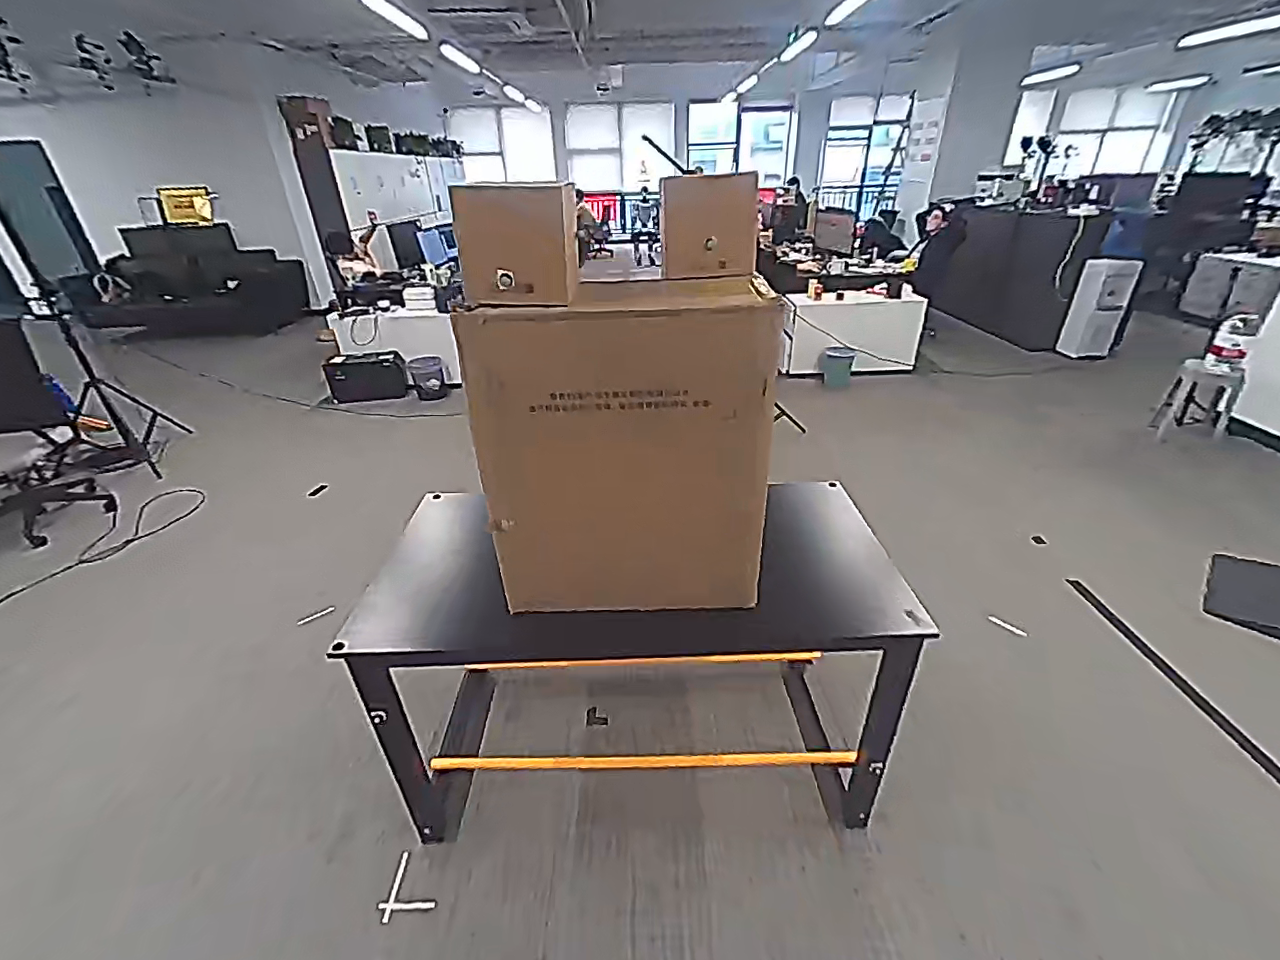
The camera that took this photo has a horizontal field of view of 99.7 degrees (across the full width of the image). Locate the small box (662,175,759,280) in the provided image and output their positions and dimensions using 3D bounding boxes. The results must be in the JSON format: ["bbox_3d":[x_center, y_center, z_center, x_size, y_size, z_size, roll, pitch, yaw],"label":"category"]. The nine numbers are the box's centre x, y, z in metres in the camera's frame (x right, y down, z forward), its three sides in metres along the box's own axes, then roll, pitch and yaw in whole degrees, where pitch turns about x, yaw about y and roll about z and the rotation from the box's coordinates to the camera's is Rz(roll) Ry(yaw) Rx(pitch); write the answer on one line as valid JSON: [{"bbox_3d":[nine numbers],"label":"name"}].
[{"bbox_3d":[0.126,-0.482,1.035,0.168,0.176,0.179,-3,28,1],"label":"small box"}]

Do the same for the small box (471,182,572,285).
[{"bbox_3d":[-0.223,-0.483,1.056,0.168,0.176,0.179,-3,29,-5],"label":"small box"}]
